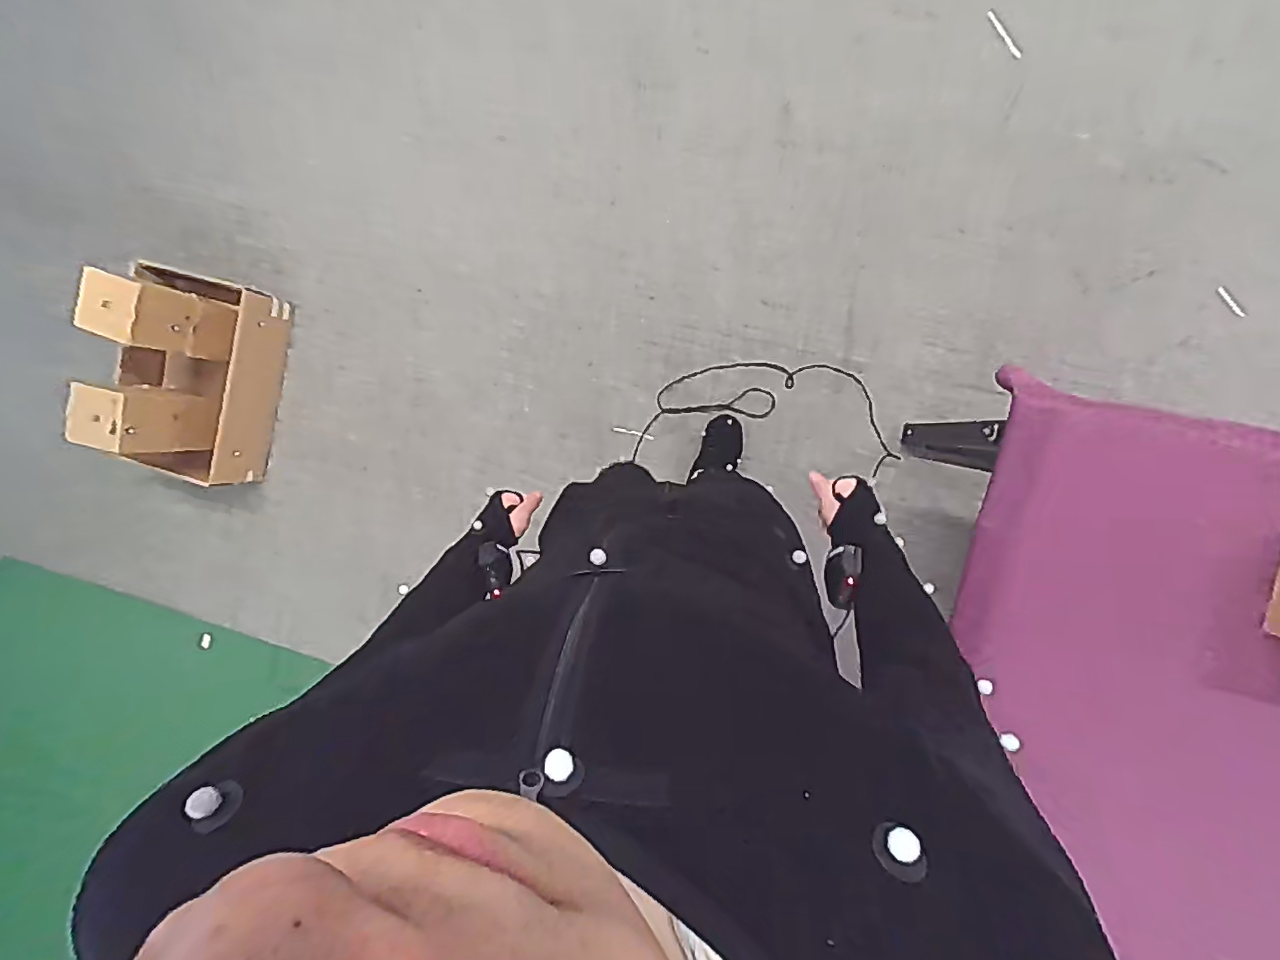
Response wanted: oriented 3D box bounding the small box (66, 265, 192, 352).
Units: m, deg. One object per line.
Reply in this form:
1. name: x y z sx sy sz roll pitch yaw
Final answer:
1. small box: -1.400 -0.464 1.490 0.179 0.176 0.168 19 97 5

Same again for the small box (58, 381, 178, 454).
1. small box: -1.465 -0.173 1.524 0.179 0.176 0.168 13 97 7
